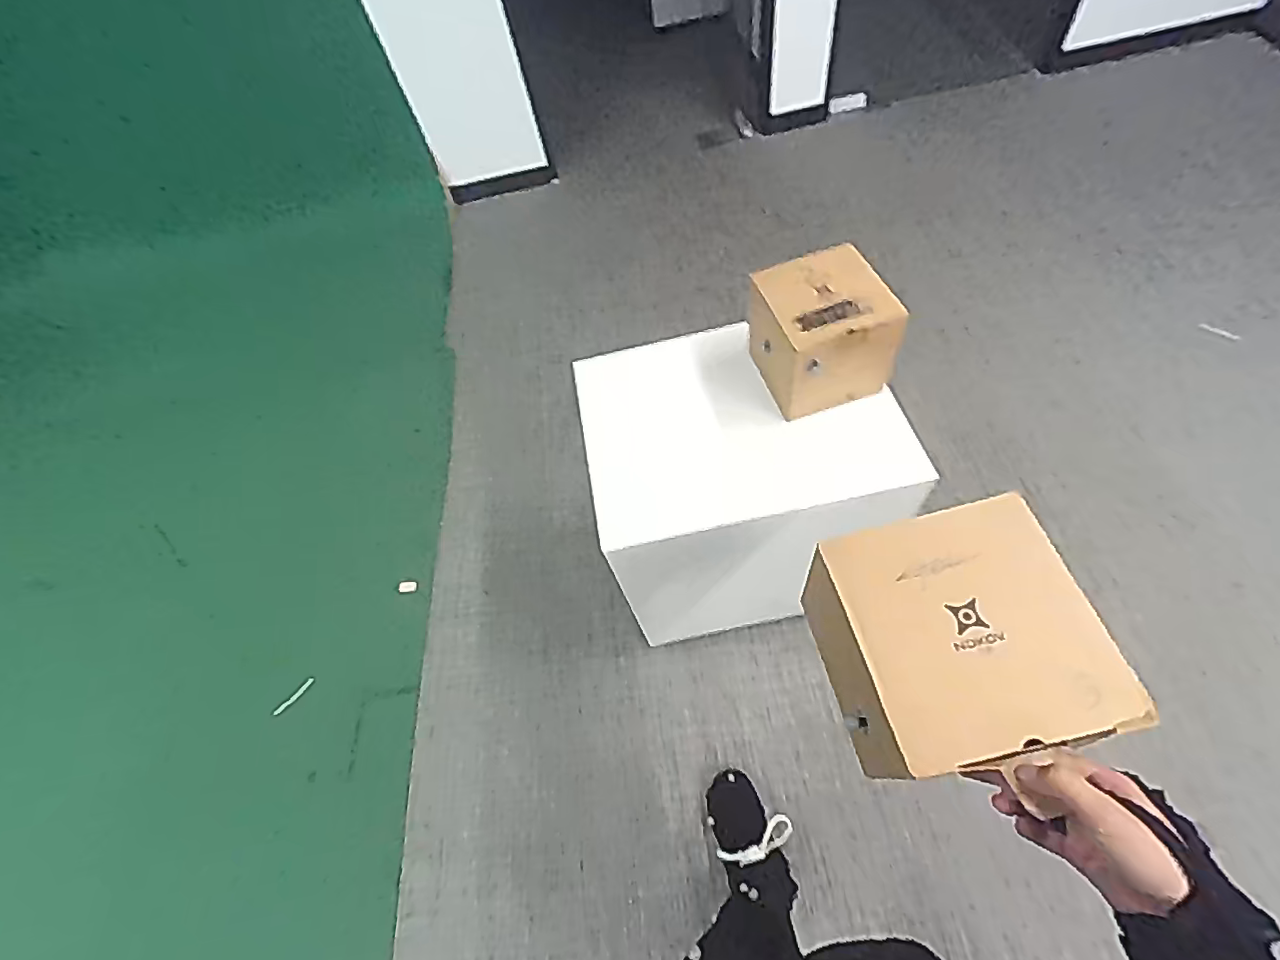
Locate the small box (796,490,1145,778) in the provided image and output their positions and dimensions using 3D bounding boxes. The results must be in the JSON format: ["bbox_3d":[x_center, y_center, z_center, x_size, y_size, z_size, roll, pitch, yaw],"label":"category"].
[{"bbox_3d":[0.246,0.138,0.463,0.168,0.176,0.179,-16,60,1],"label":"small box"}]
